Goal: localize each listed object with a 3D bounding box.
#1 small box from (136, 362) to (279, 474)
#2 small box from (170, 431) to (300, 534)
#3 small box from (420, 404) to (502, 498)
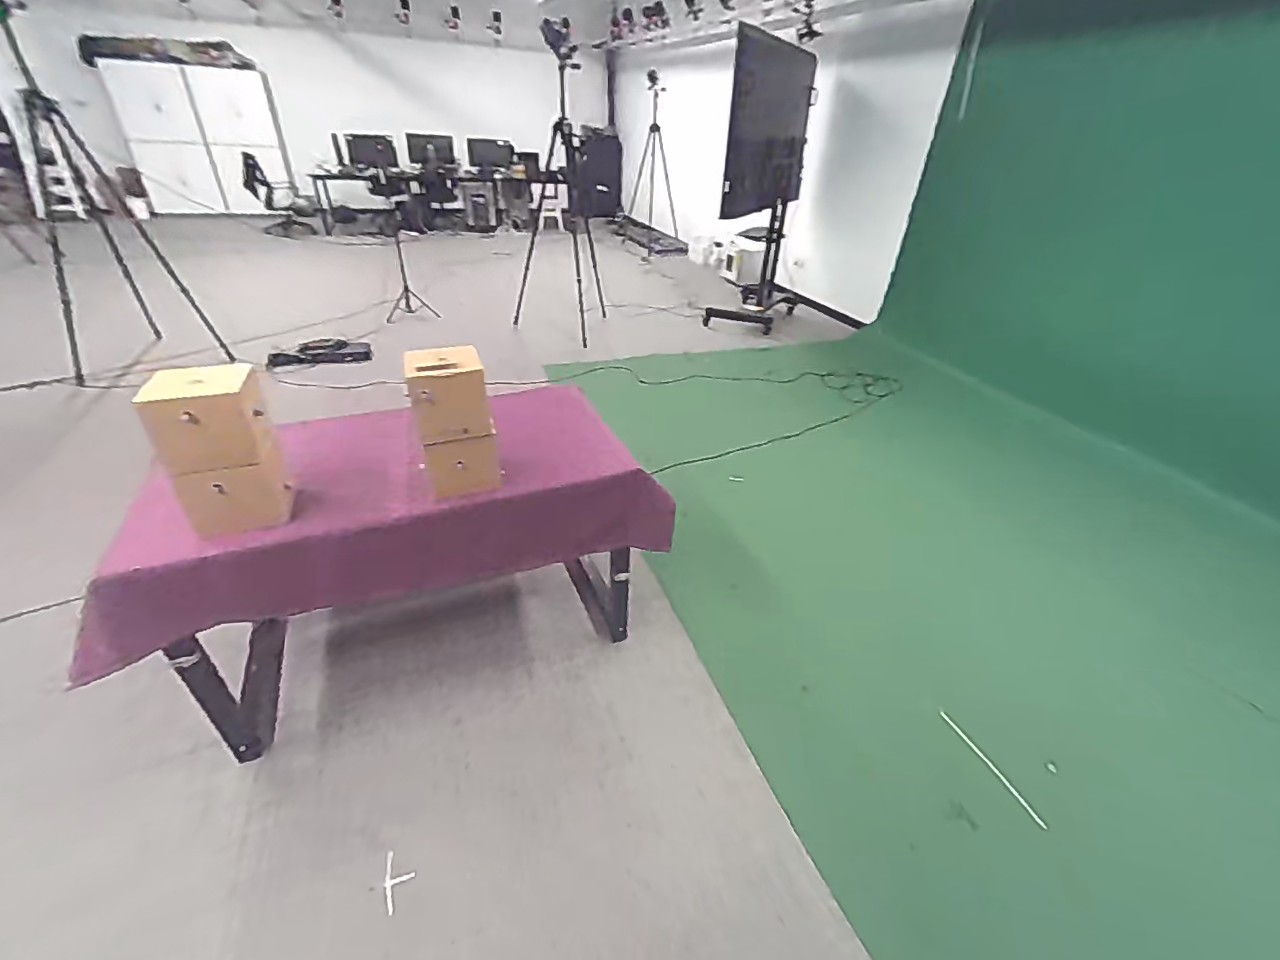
[{"bbox_3d":[-0.899,-0.133,1.148,0.179,0.176,0.168,-11,36,-18],"label":"small box"},{"bbox_3d":[-0.911,0.004,1.236,0.179,0.176,0.168,-10,36,-18],"label":"small box"},{"bbox_3d":[-0.456,-0.075,1.390,0.179,0.176,0.168,-11,36,-18],"label":"small box"}]
